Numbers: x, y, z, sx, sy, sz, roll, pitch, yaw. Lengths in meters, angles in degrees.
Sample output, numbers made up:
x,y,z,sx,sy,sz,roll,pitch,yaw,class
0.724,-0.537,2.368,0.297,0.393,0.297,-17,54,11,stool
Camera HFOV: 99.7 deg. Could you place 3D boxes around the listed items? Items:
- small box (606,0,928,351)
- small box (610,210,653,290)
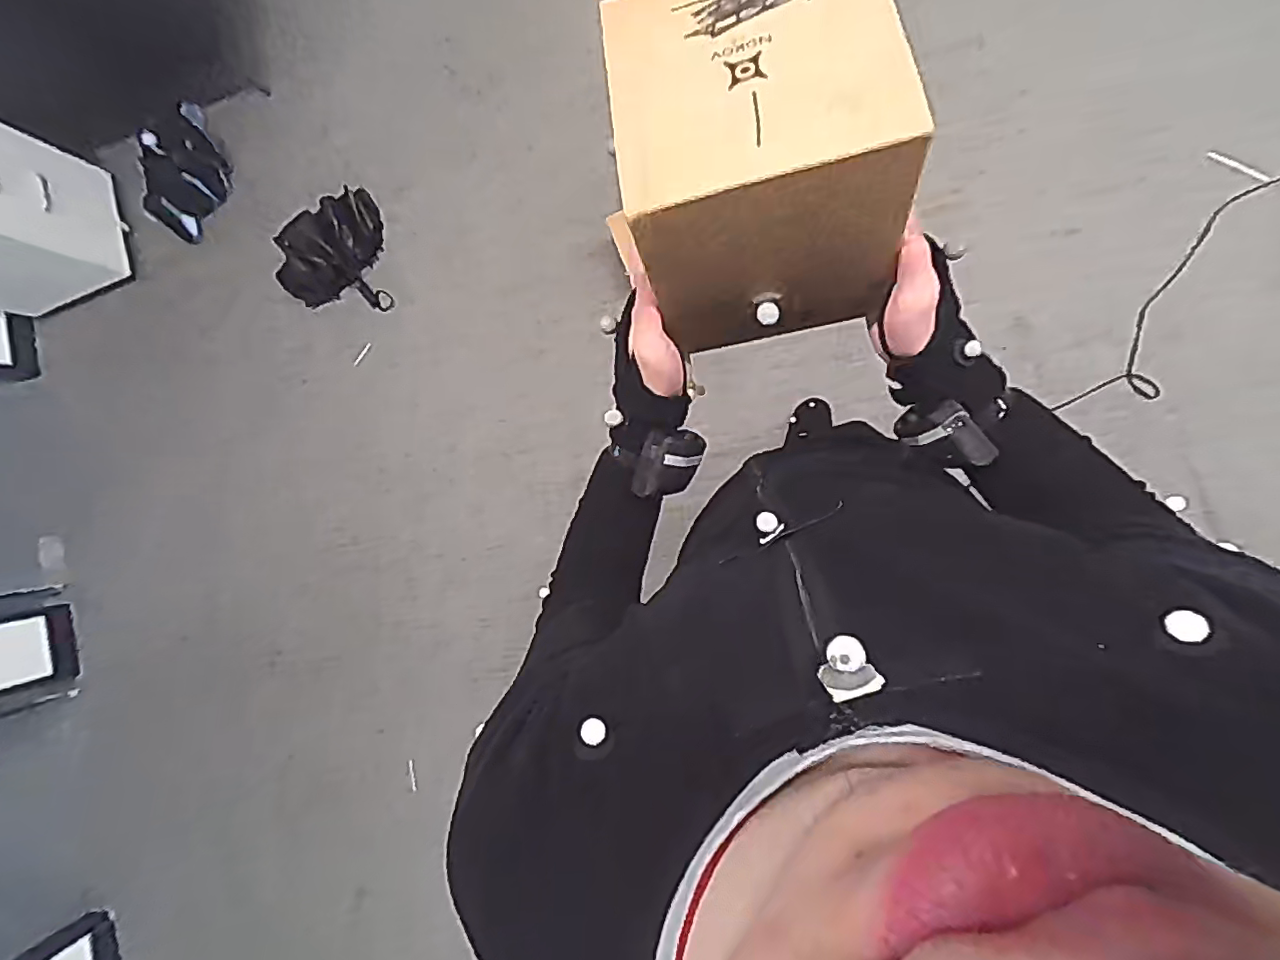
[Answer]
x,y,z,sx,sy,sz,roll,pitch,yaw,class
0.080,-0.221,0.388,0.168,0.176,0.179,-9,72,12,small box
0.041,-0.655,1.511,0.168,0.176,0.179,-22,84,12,small box
